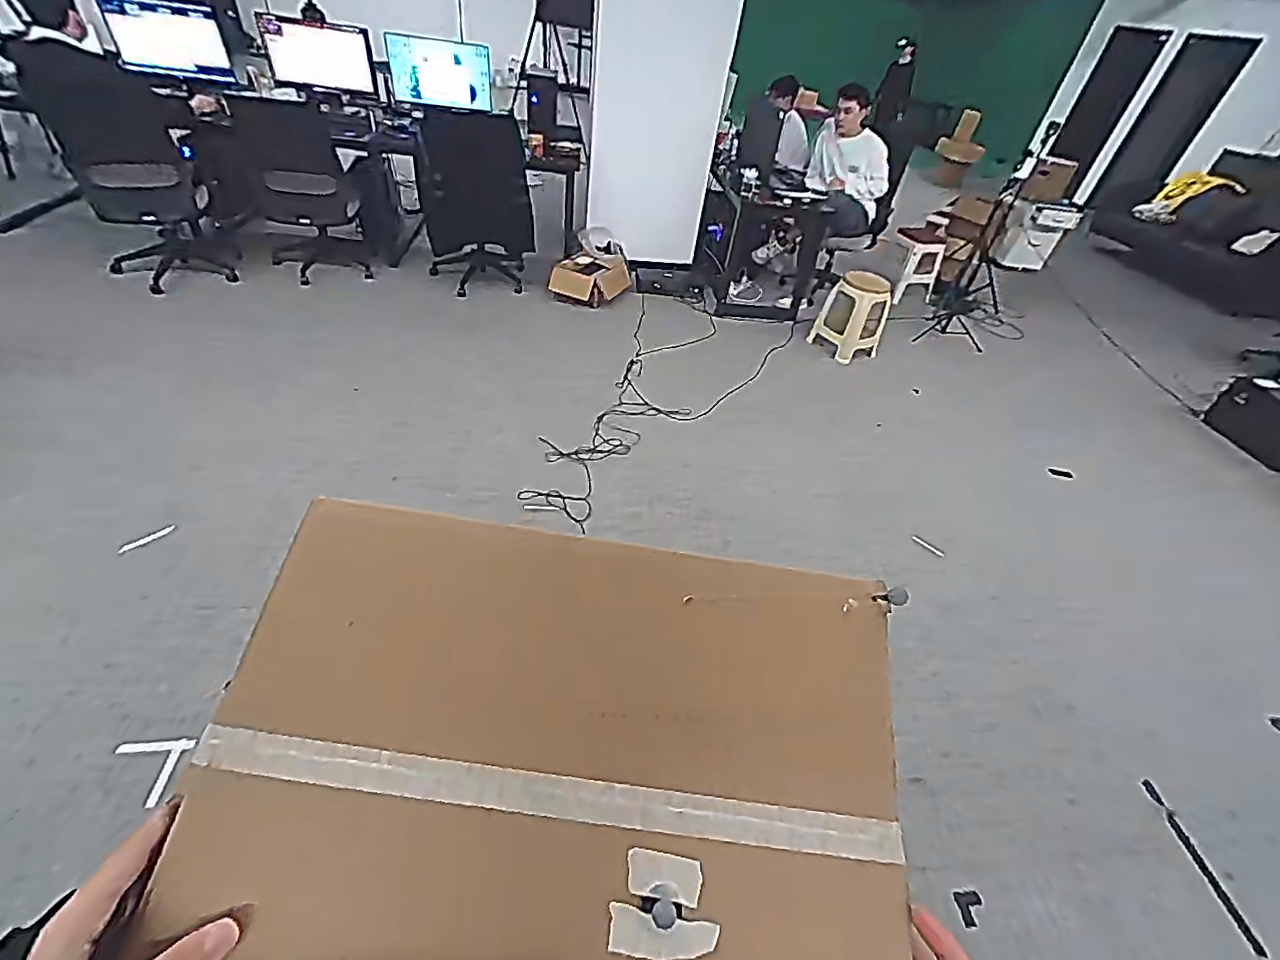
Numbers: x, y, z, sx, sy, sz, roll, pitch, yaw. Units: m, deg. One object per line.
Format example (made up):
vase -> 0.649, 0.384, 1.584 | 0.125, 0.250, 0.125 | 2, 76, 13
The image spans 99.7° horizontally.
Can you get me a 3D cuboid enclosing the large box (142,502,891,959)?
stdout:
large box -> -0.059, 0.241, 0.462 | 0.408, 0.320, 0.320 | 9, 66, -1
